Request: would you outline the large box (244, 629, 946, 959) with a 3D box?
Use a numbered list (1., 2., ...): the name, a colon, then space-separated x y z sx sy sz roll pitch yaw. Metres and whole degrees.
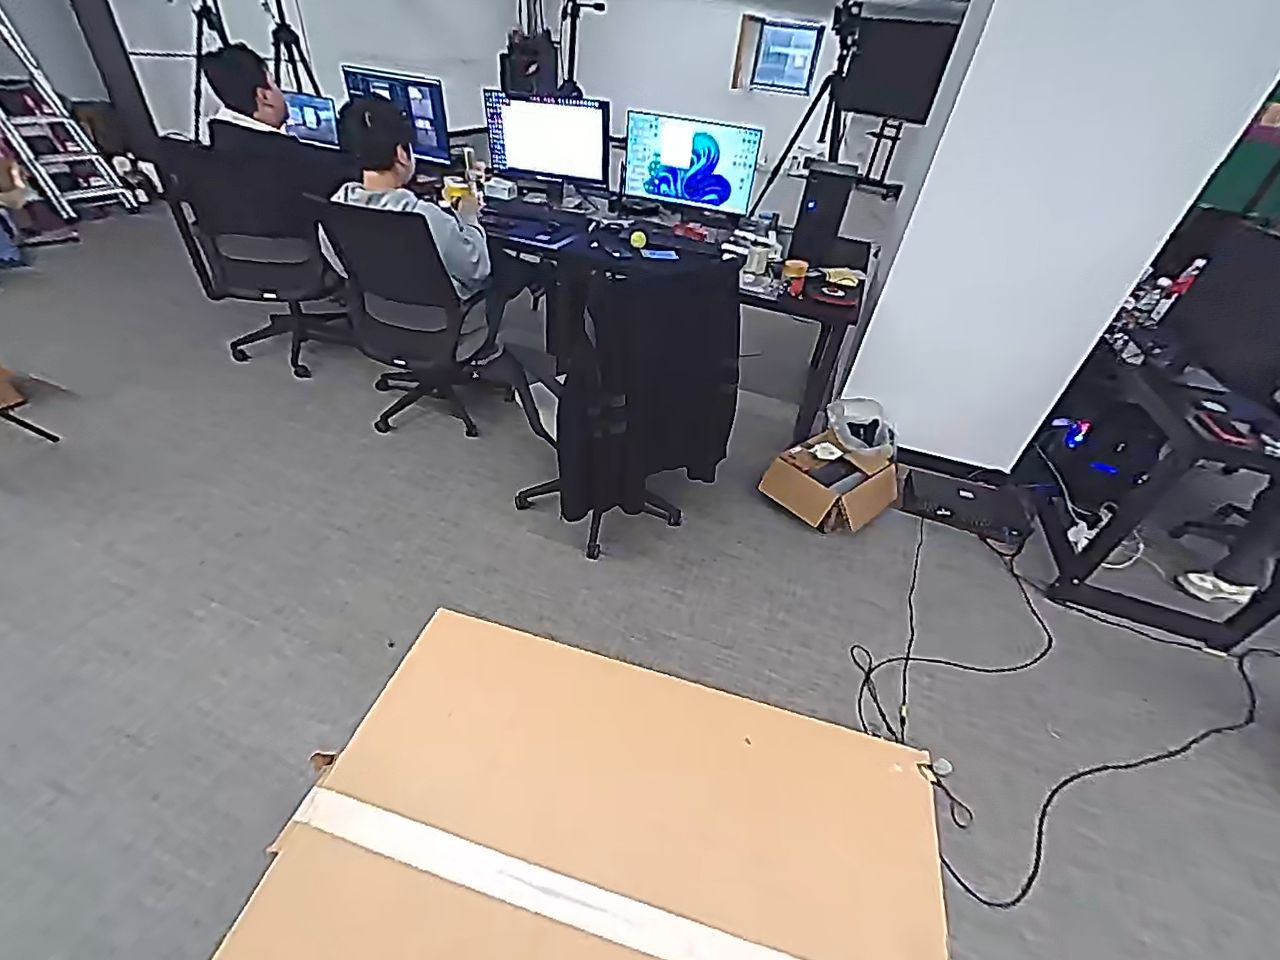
1. large box: -0.027 0.376 0.433 0.408 0.320 0.320 14 45 8
